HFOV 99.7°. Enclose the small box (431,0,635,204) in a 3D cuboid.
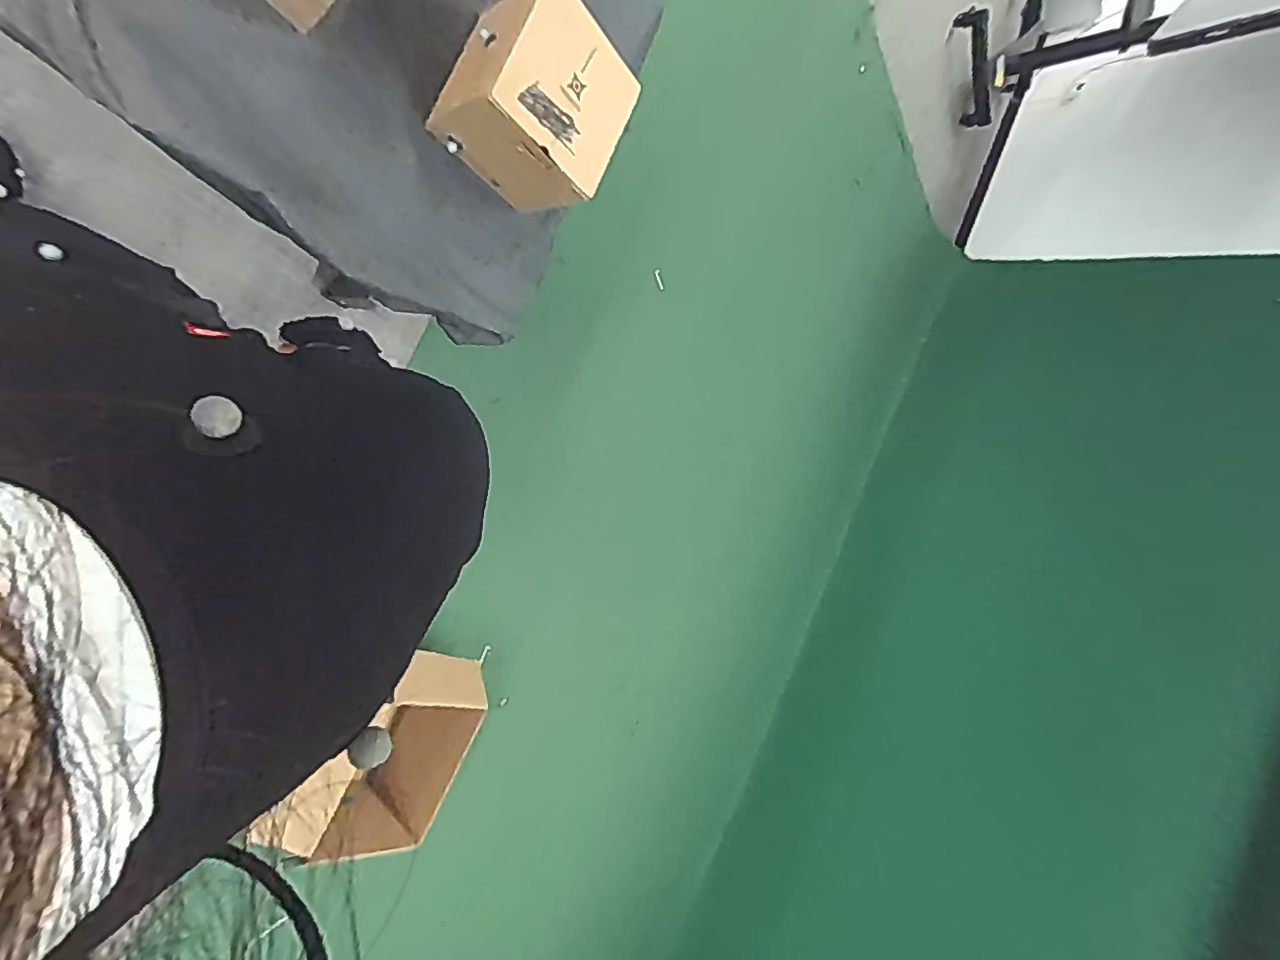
[{"bbox_3d":[-0.144,-0.491,0.706,0.168,0.176,0.179,29,82,-48],"label":"small box"}]
